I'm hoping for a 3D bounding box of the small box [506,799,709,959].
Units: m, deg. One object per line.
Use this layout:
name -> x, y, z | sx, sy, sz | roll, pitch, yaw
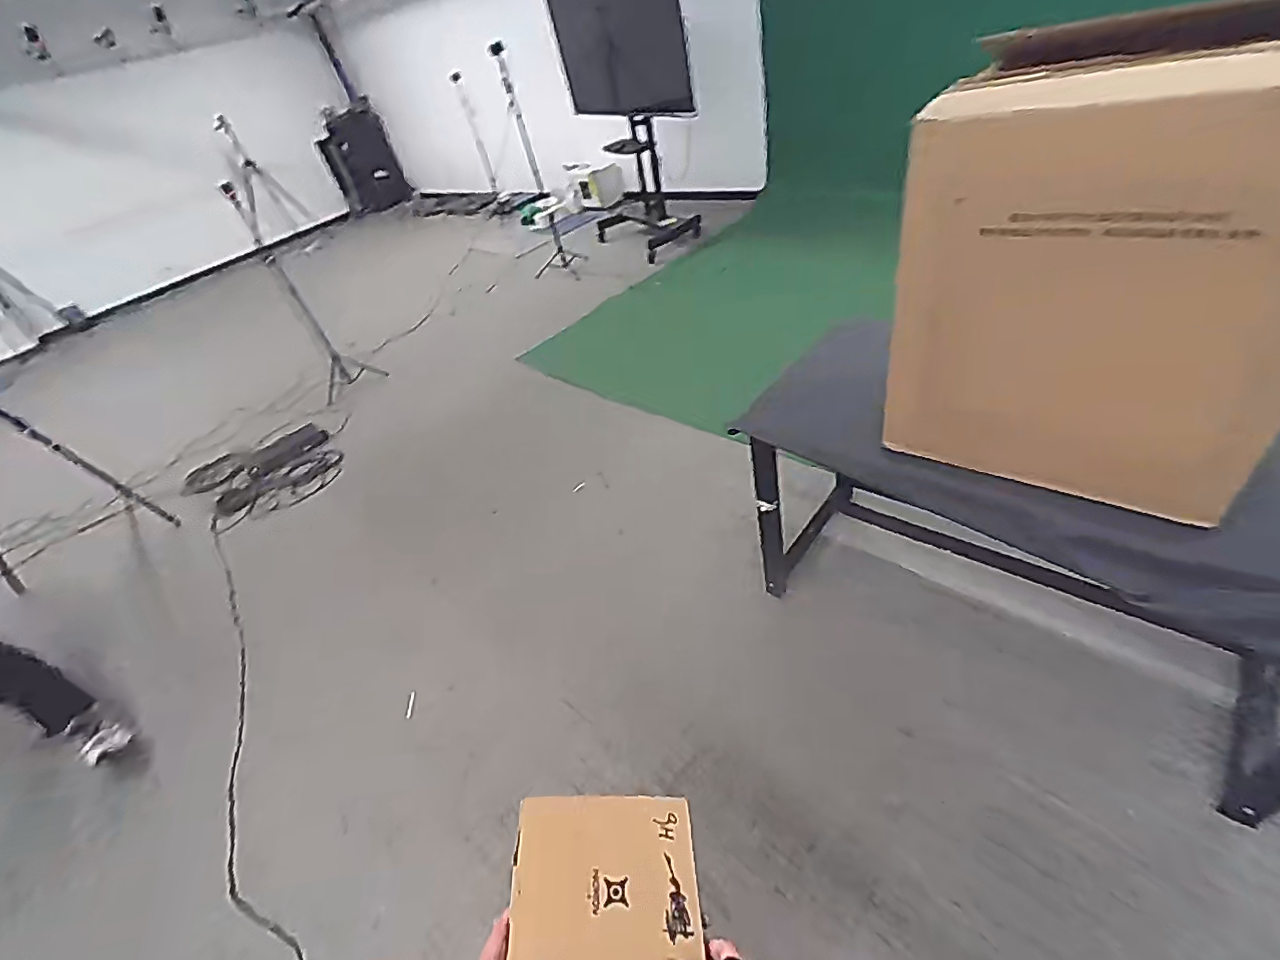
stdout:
small box -> -0.037, 0.448, 0.544 | 0.179, 0.176, 0.168 | 5, 35, -6
